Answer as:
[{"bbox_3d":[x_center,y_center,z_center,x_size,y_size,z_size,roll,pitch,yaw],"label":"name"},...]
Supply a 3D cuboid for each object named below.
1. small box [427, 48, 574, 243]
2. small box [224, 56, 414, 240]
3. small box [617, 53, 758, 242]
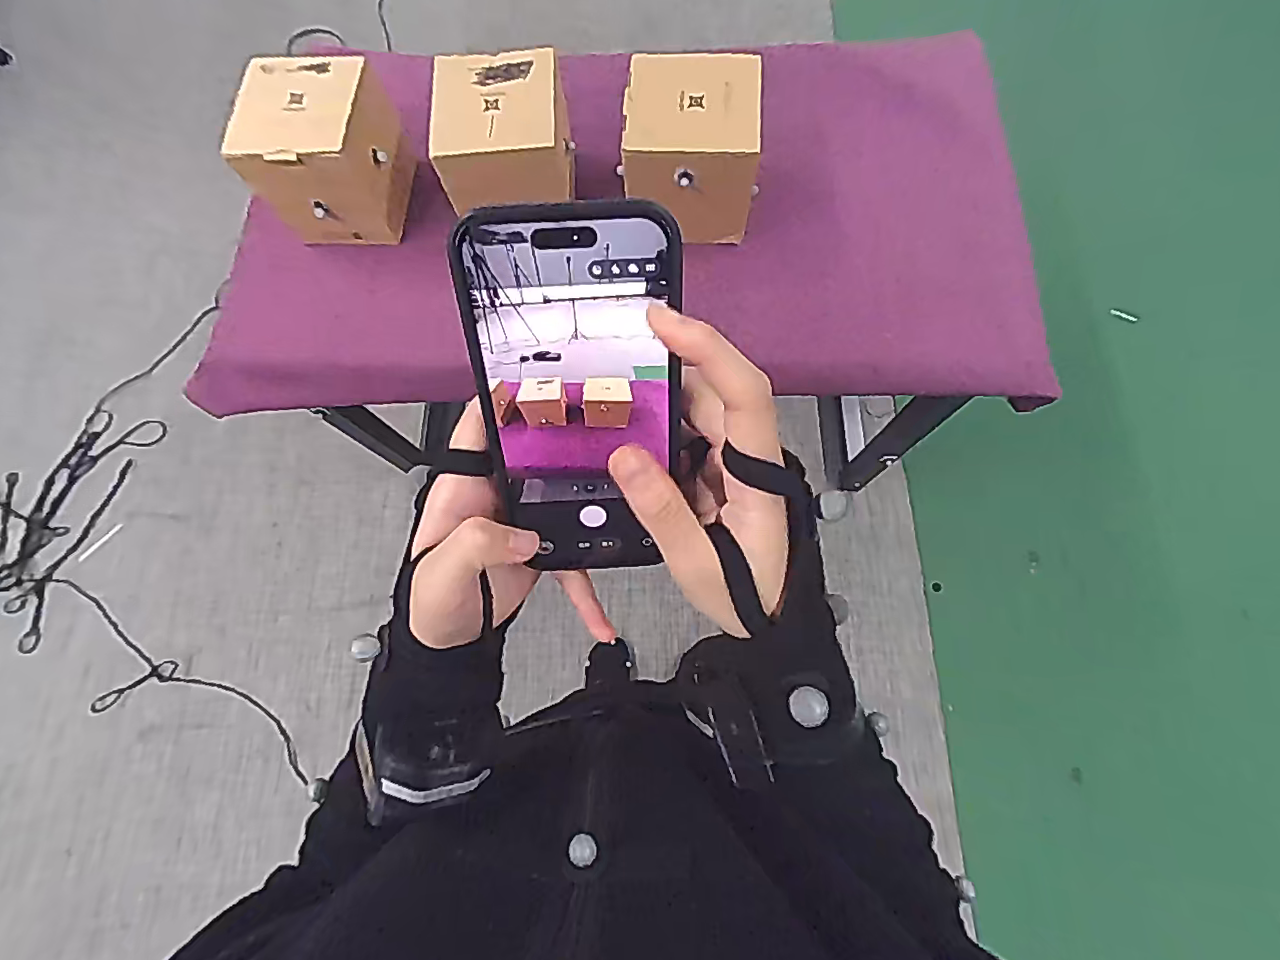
[{"bbox_3d":[-0.191,-0.480,0.791,0.168,0.176,0.179,-3,74,2],"label":"small box"},{"bbox_3d":[-0.459,-0.482,0.805,0.168,0.176,0.179,2,74,3],"label":"small box"},{"bbox_3d":[0.068,-0.467,0.776,0.179,0.176,0.168,4,74,4],"label":"small box"}]
